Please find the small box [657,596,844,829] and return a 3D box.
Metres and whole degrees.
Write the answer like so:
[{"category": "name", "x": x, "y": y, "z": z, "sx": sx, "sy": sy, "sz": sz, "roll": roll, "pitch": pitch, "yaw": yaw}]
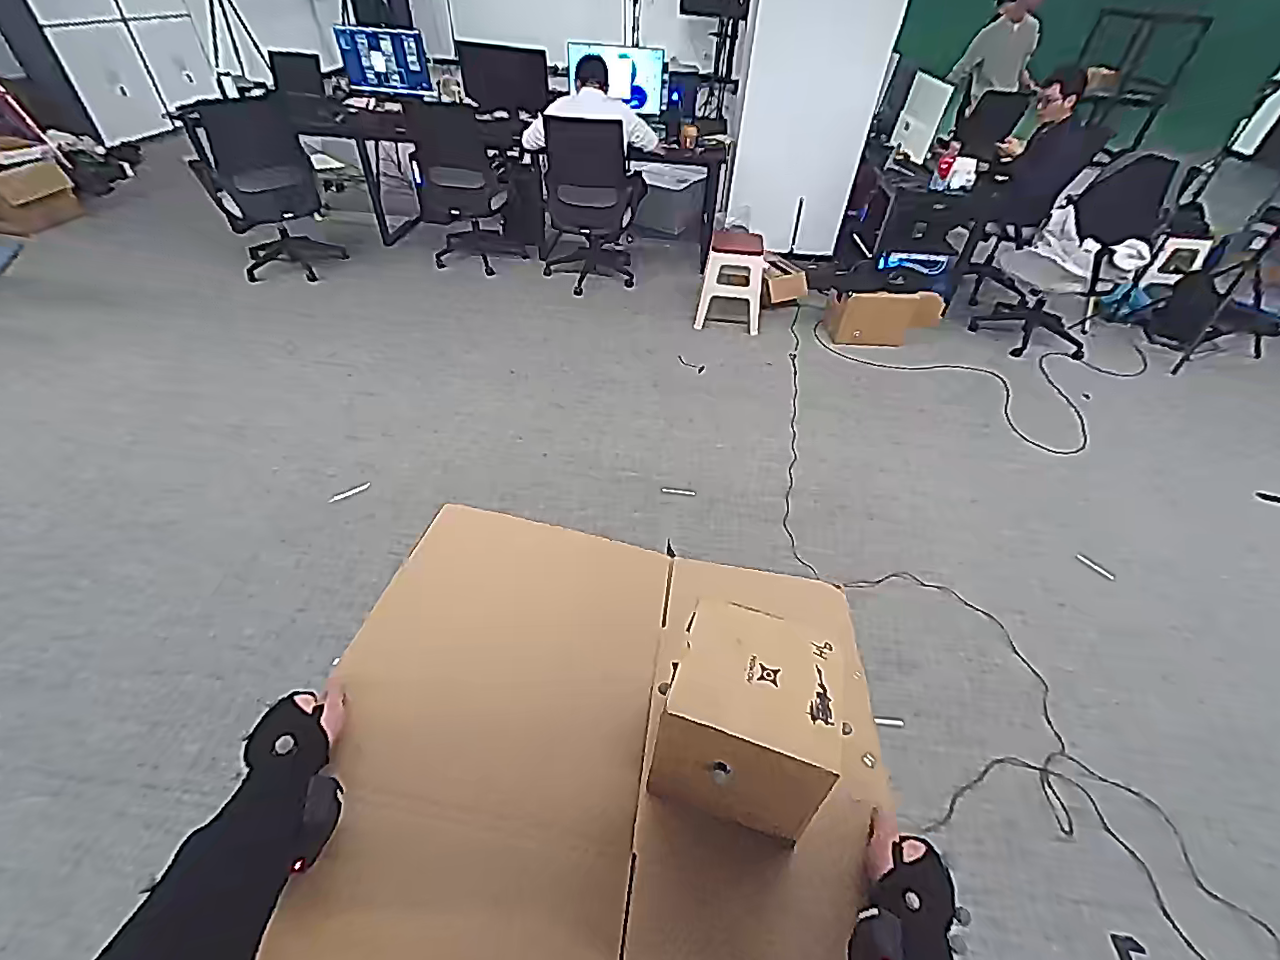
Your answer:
[{"category": "small box", "x": 0.126, "y": 0.270, "z": 0.635, "sx": 0.179, "sy": 0.176, "sz": 0.168, "roll": 14, "pitch": 38, "yaw": 12}]
